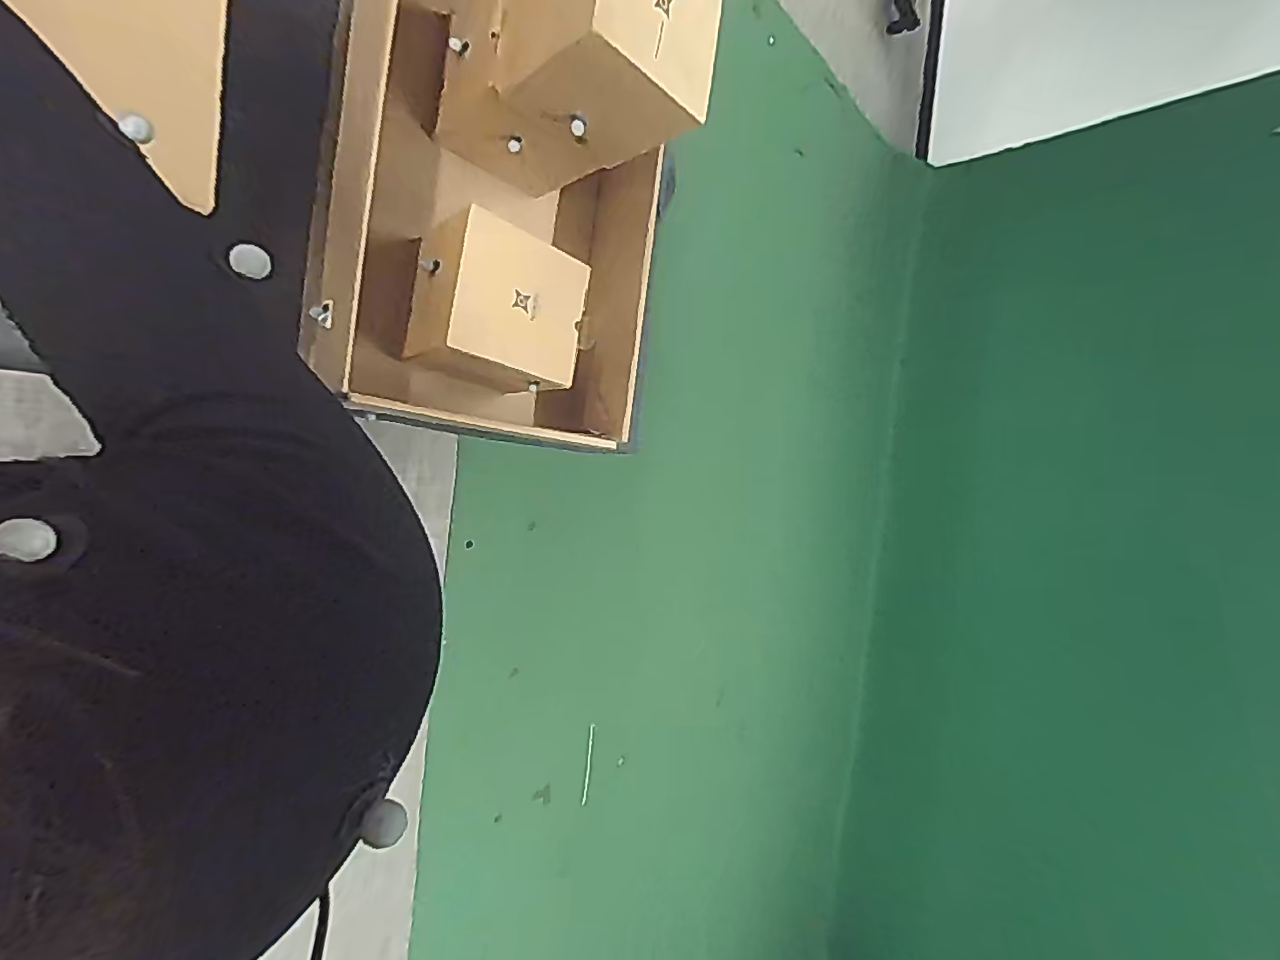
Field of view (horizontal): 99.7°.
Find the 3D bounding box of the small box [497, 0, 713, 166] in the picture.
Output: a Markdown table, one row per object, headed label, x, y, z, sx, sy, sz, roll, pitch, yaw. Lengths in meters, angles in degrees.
| label | x | y | z | sx | sy | sz | roll | pitch | yaw |
| --- | --- | --- | --- | --- | --- | --- | --- | --- | --- |
| small box | -0.041 | -0.493 | 0.603 | 0.168 | 0.176 | 0.179 | 7 | 93 | -45 |
